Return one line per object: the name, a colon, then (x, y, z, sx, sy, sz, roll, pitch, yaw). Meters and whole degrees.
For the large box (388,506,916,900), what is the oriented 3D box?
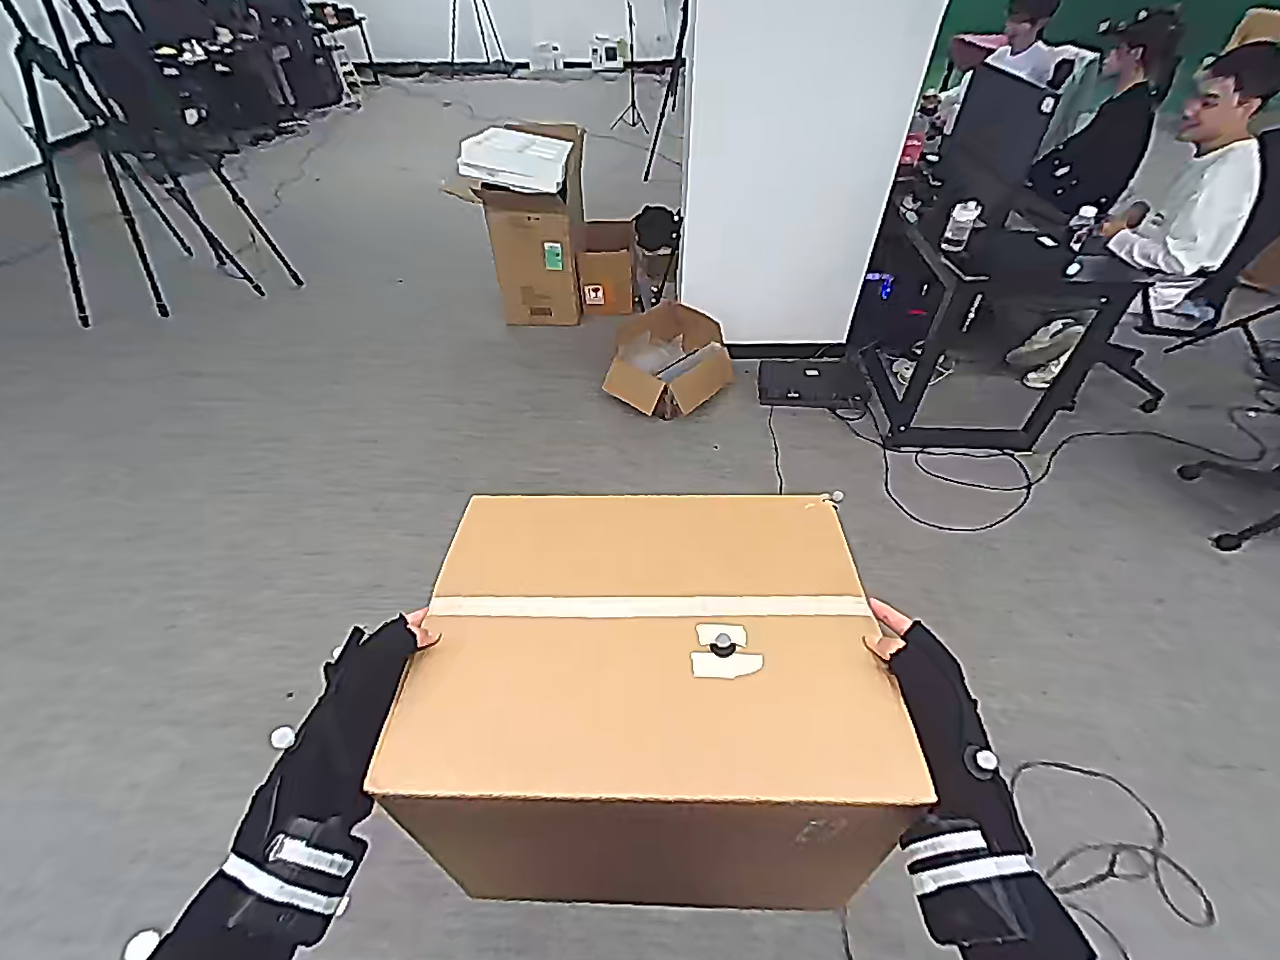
large box: (0.011, 0.243, 0.607, 0.408, 0.320, 0.320, 0, 41, 2)
